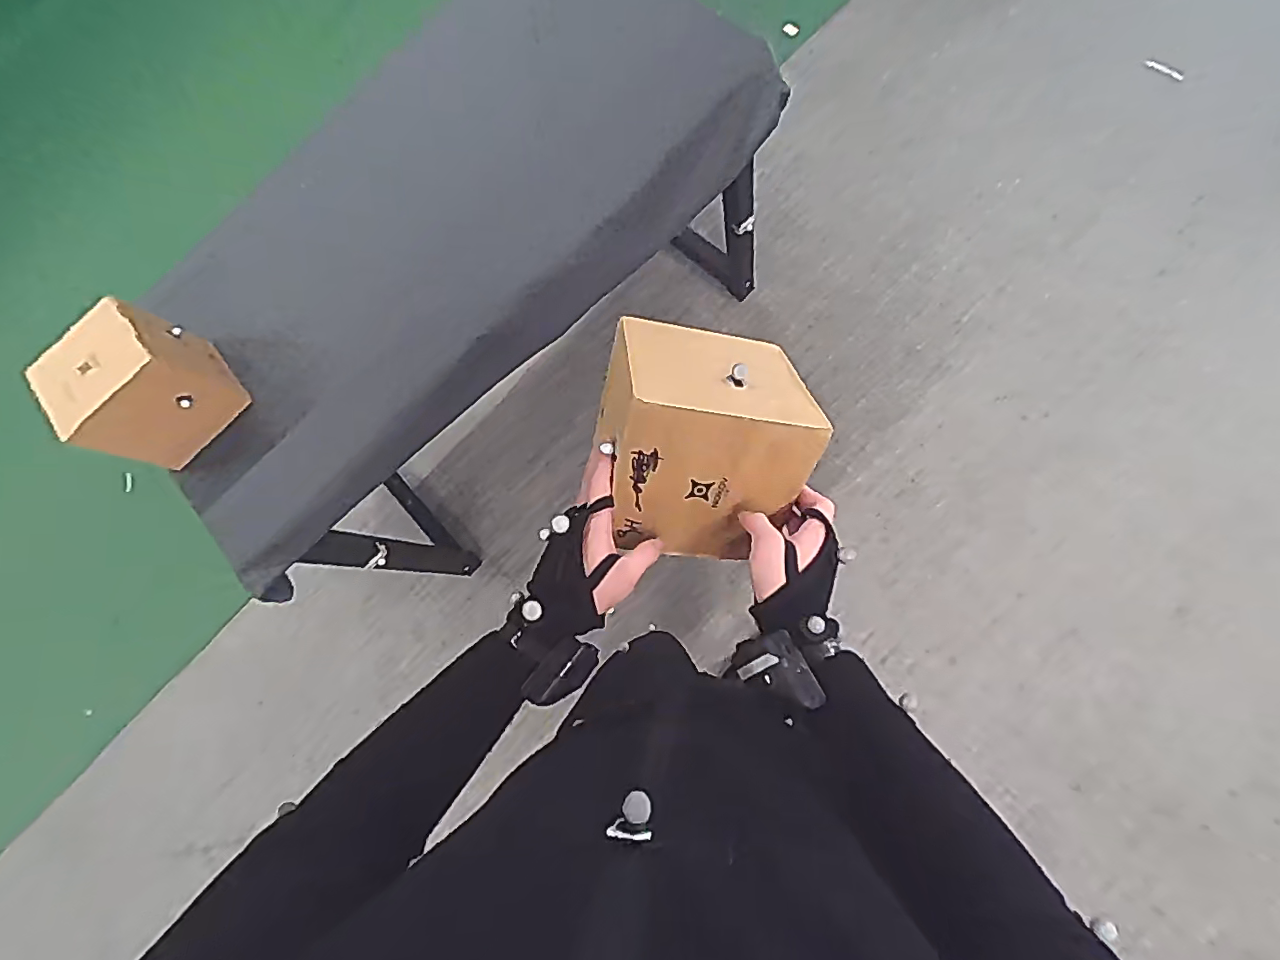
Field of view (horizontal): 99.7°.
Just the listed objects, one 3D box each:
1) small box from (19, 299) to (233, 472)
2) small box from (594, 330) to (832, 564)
[{"bbox_3d":[-0.797,-0.141,0.860,0.179,0.176,0.168,-42,71,-1],"label":"small box"},{"bbox_3d":[0.056,-0.035,0.553,0.179,0.168,0.176,7,37,-14],"label":"small box"}]
